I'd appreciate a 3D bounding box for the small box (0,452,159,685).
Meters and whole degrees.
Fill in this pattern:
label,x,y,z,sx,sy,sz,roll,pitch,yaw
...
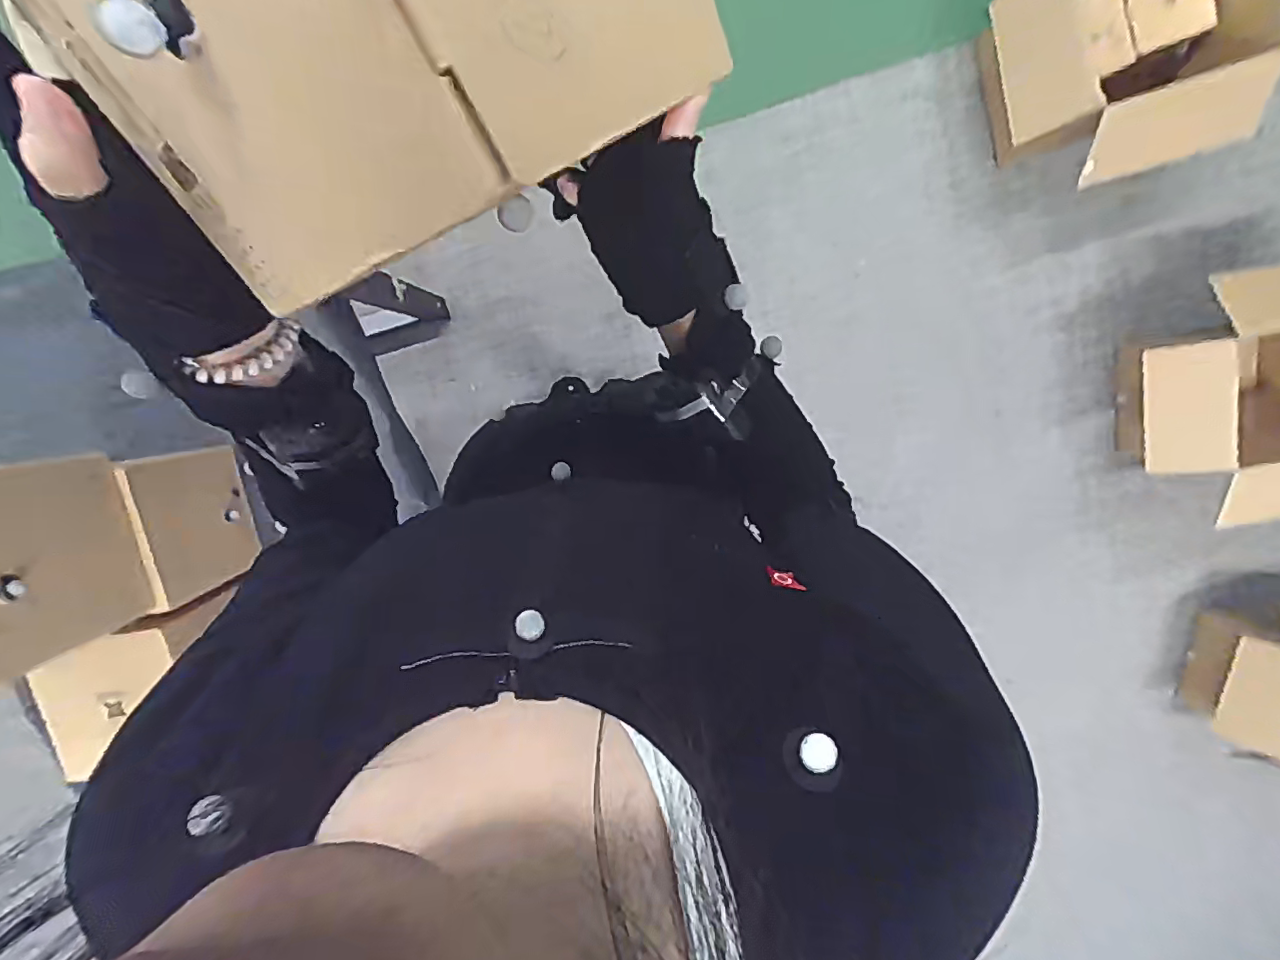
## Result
label,x,y,z,sx,sy,sz,roll,pitch,yaw
small box,-0.611,0.078,0.504,0.168,0.176,0.179,-8,100,-1
